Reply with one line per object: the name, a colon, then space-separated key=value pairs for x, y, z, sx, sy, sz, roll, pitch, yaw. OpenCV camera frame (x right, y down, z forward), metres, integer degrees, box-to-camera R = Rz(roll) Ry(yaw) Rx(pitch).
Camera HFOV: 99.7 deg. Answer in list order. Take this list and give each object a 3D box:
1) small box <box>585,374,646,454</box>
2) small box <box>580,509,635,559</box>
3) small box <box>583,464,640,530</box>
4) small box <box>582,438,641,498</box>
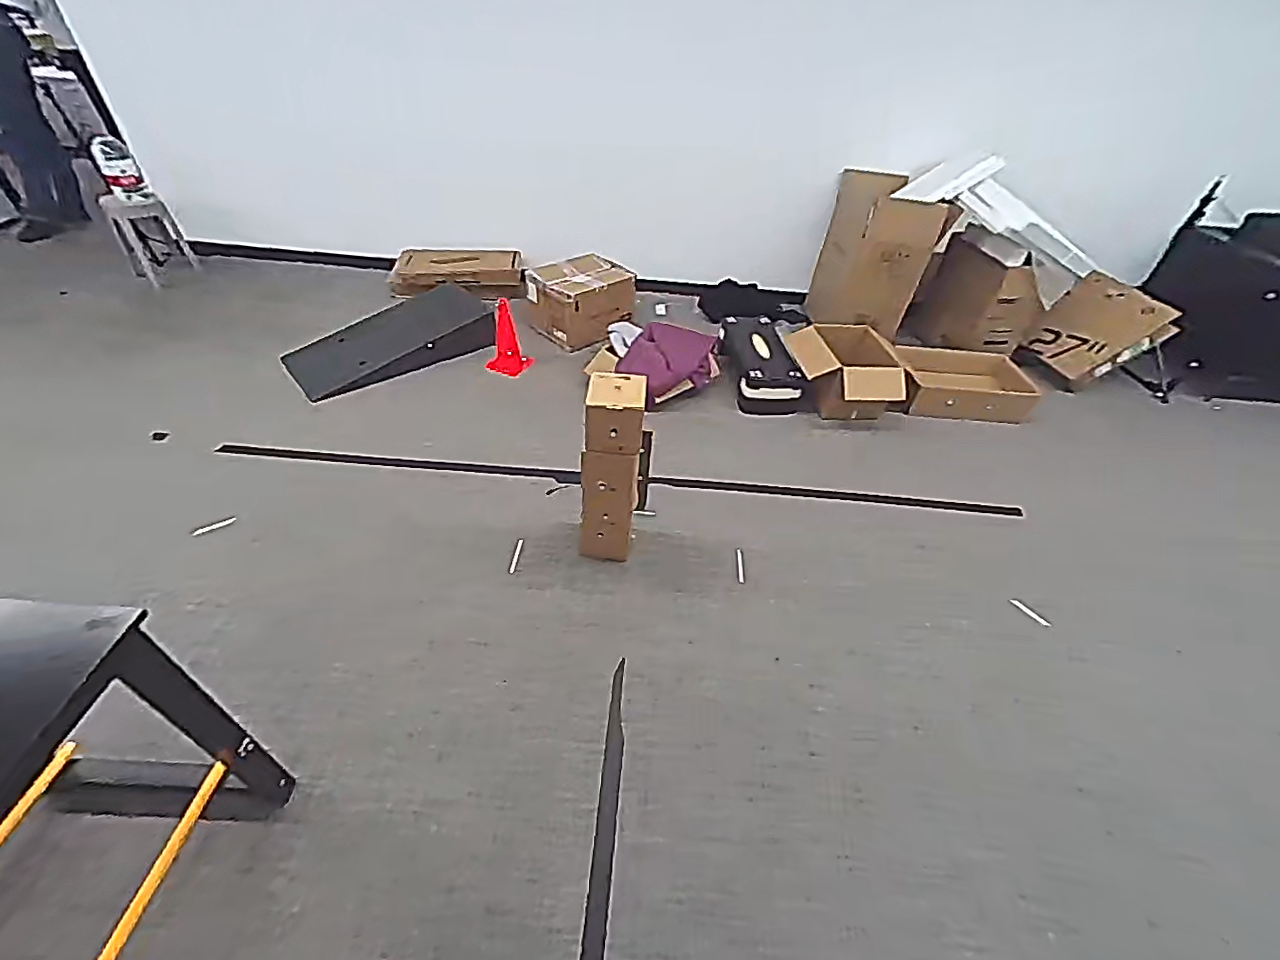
small box: x=-0.070 y=-0.195 z=1.608 sx=0.168 sy=0.176 sz=0.179 roll=4 pitch=43 yaw=0
small box: x=-0.116 y=0.166 z=1.939 sx=0.179 sy=0.176 sz=0.168 roll=8 pitch=43 yaw=2
small box: x=-0.097 y=0.042 z=1.831 sx=0.168 sy=0.176 sz=0.179 roll=7 pitch=43 yaw=3
small box: x=-0.087 y=-0.069 z=1.712 sx=0.168 sy=0.176 sz=0.179 roll=7 pitch=43 yaw=3
